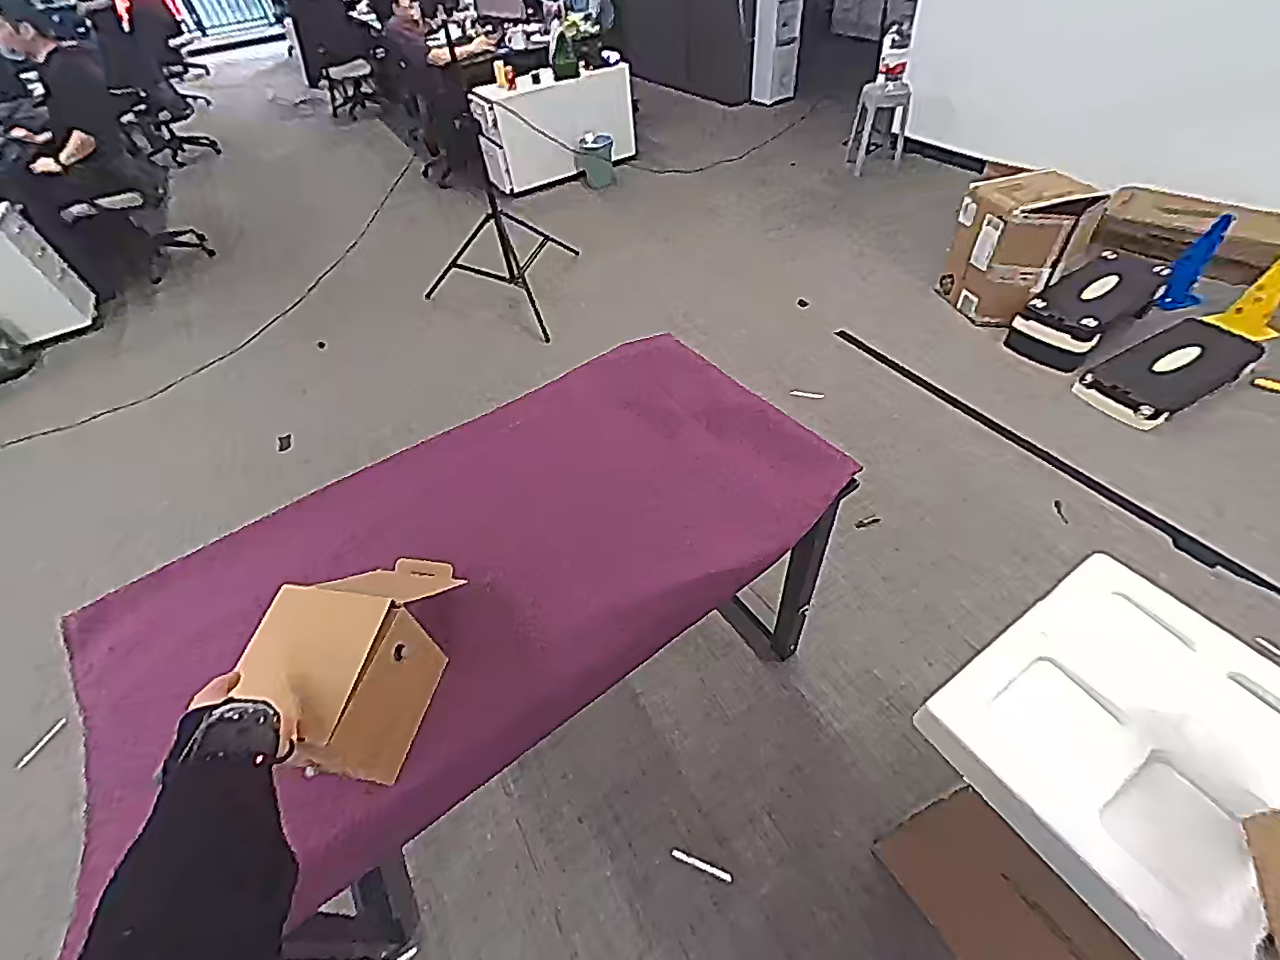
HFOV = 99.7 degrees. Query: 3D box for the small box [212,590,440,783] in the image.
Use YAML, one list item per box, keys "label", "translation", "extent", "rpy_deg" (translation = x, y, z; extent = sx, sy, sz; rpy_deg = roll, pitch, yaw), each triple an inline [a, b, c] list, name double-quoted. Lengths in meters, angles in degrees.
- label: "small box"
  translation: [-0.391, 0.273, 0.717]
  extent: [0.168, 0.176, 0.179]
  rpy_deg: [4, 49, 12]
